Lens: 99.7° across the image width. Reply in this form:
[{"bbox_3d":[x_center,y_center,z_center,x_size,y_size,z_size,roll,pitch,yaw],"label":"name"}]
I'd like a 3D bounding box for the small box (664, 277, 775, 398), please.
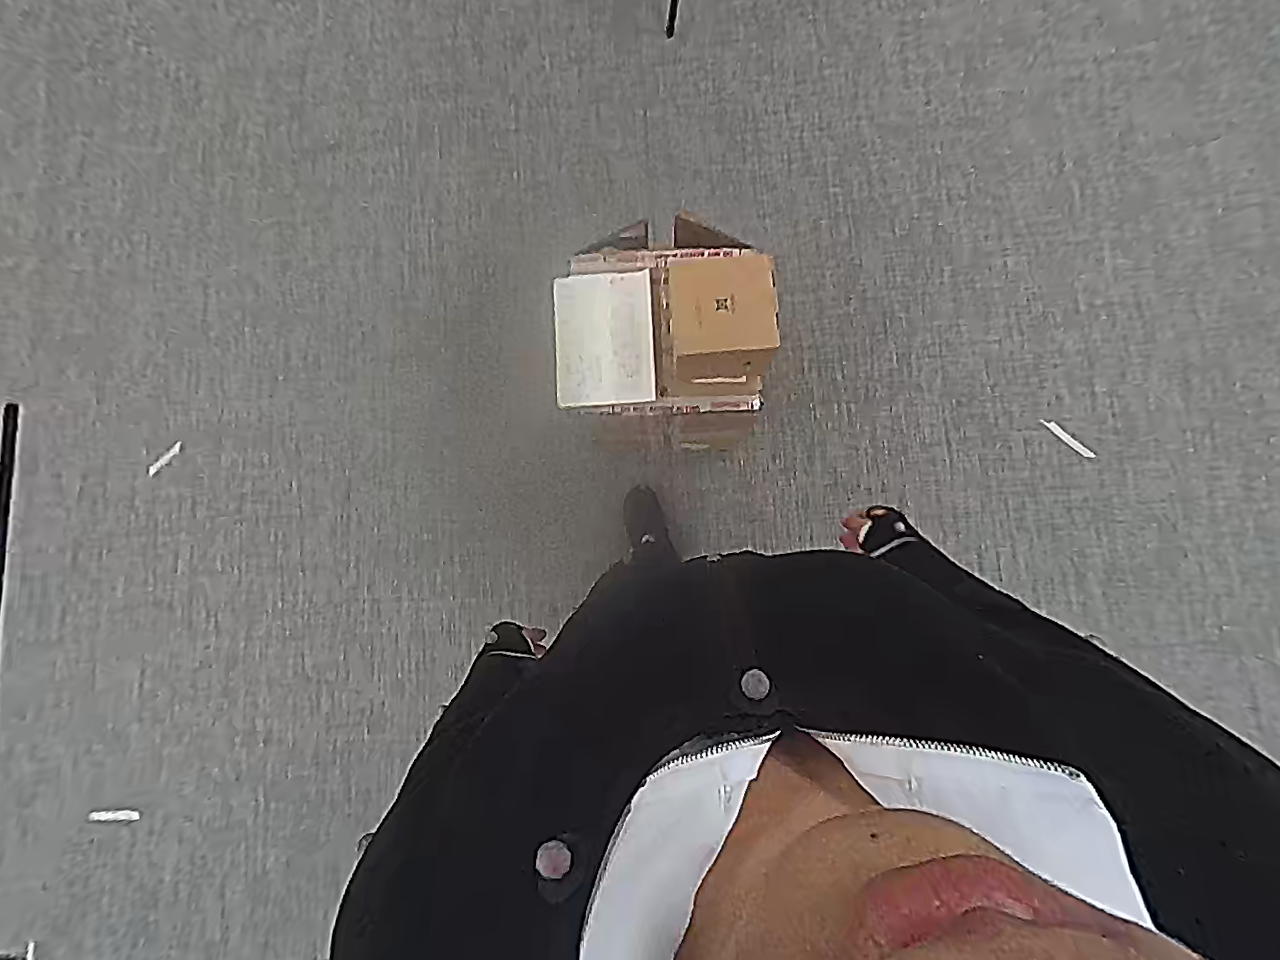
[{"bbox_3d":[0.138,-0.254,0.997,0.179,0.176,0.168,-5,84,2],"label":"small box"}]
